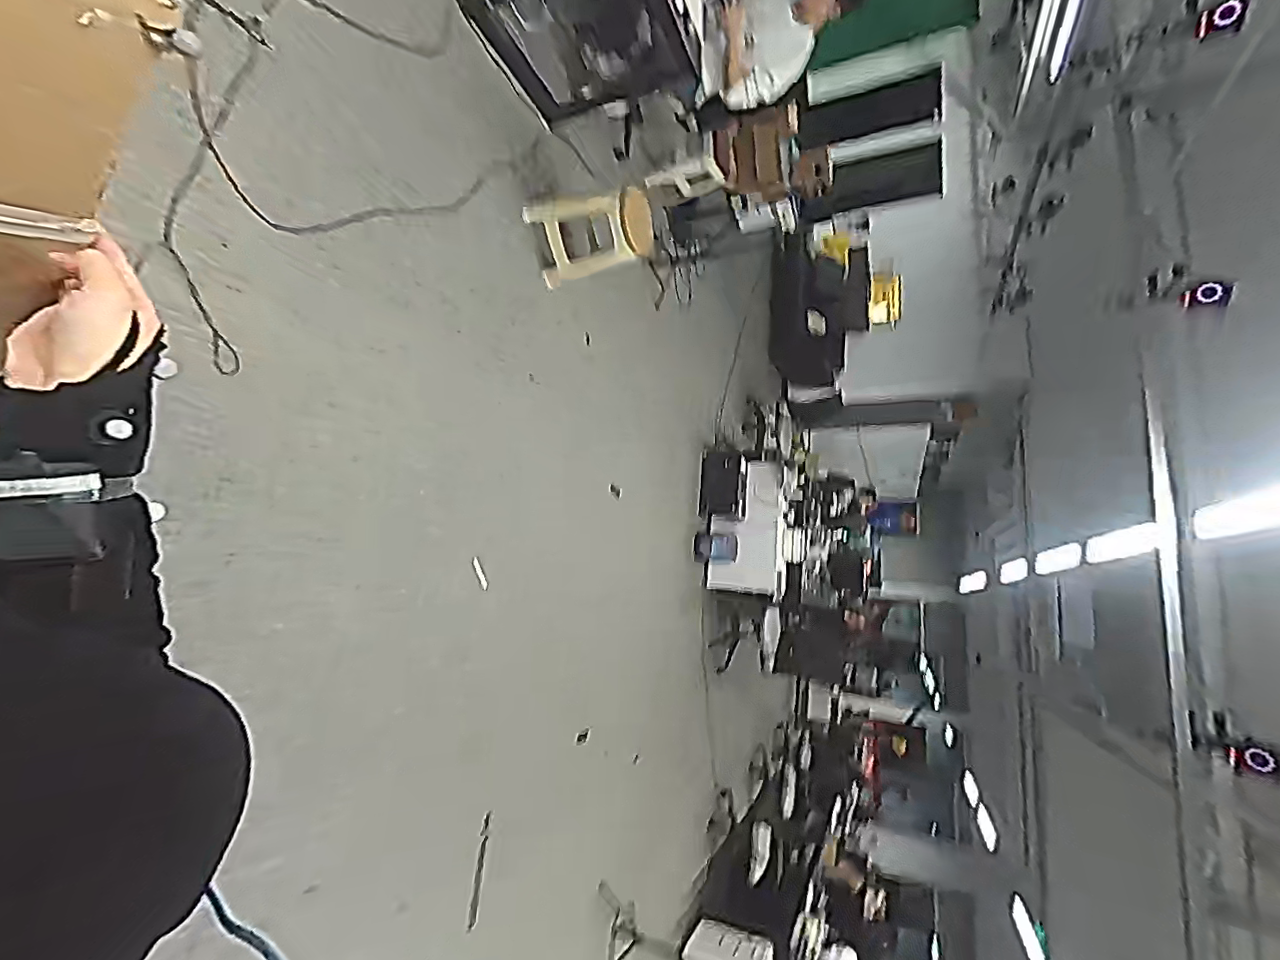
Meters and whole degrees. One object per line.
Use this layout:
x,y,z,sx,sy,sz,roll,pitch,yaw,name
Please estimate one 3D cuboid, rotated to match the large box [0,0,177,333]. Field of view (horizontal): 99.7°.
-0.486,-0.273,0.166,0.320,0.320,0.408,61,28,4,large box
